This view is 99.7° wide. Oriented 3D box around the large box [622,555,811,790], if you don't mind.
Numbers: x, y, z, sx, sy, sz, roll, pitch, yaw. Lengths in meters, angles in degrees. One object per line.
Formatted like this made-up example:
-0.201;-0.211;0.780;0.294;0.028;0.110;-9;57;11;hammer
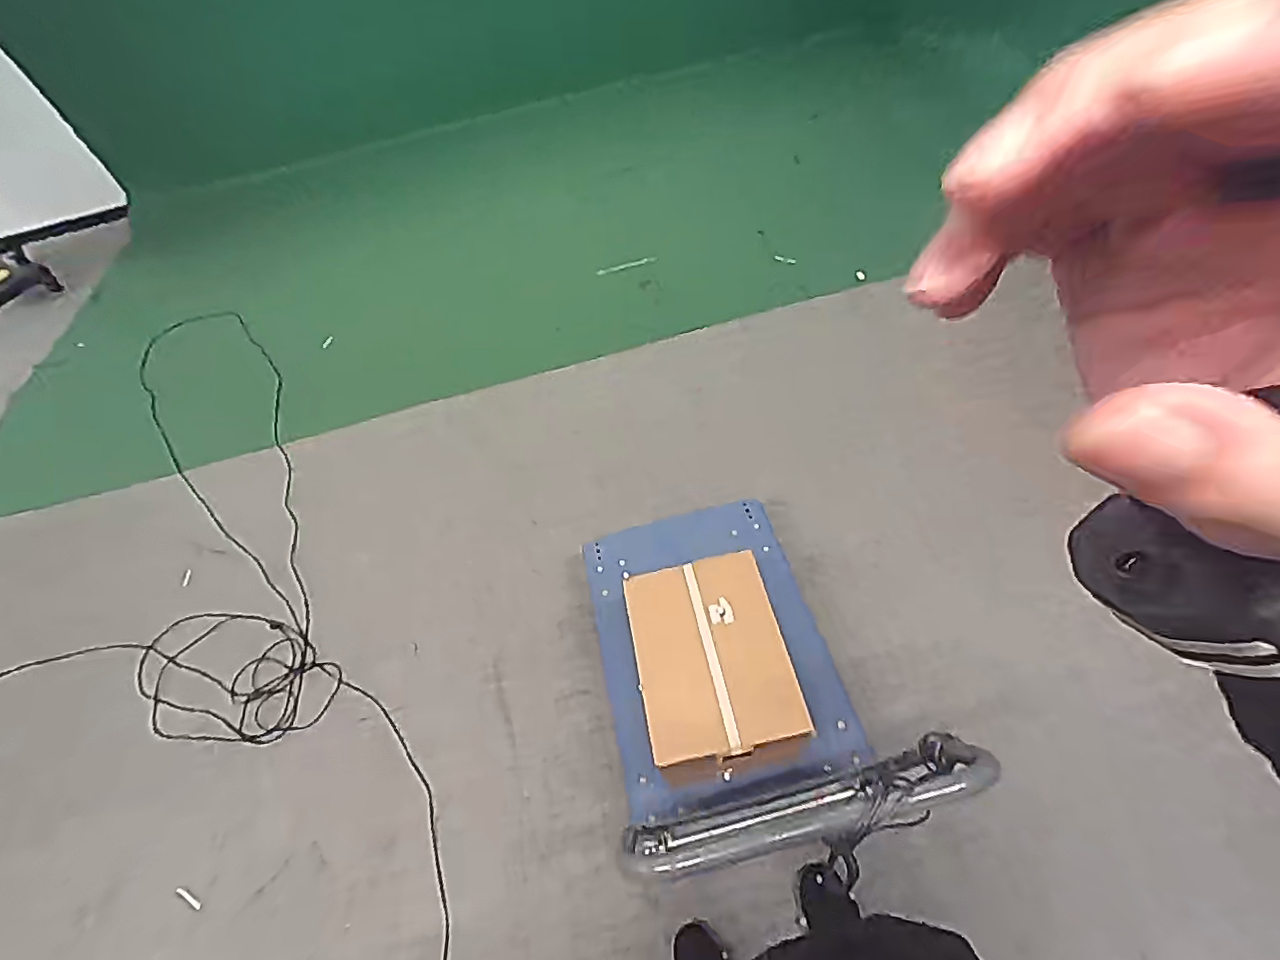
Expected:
0.167;0.451;1.265;0.320;0.320;0.408;-13;52;0;large box
